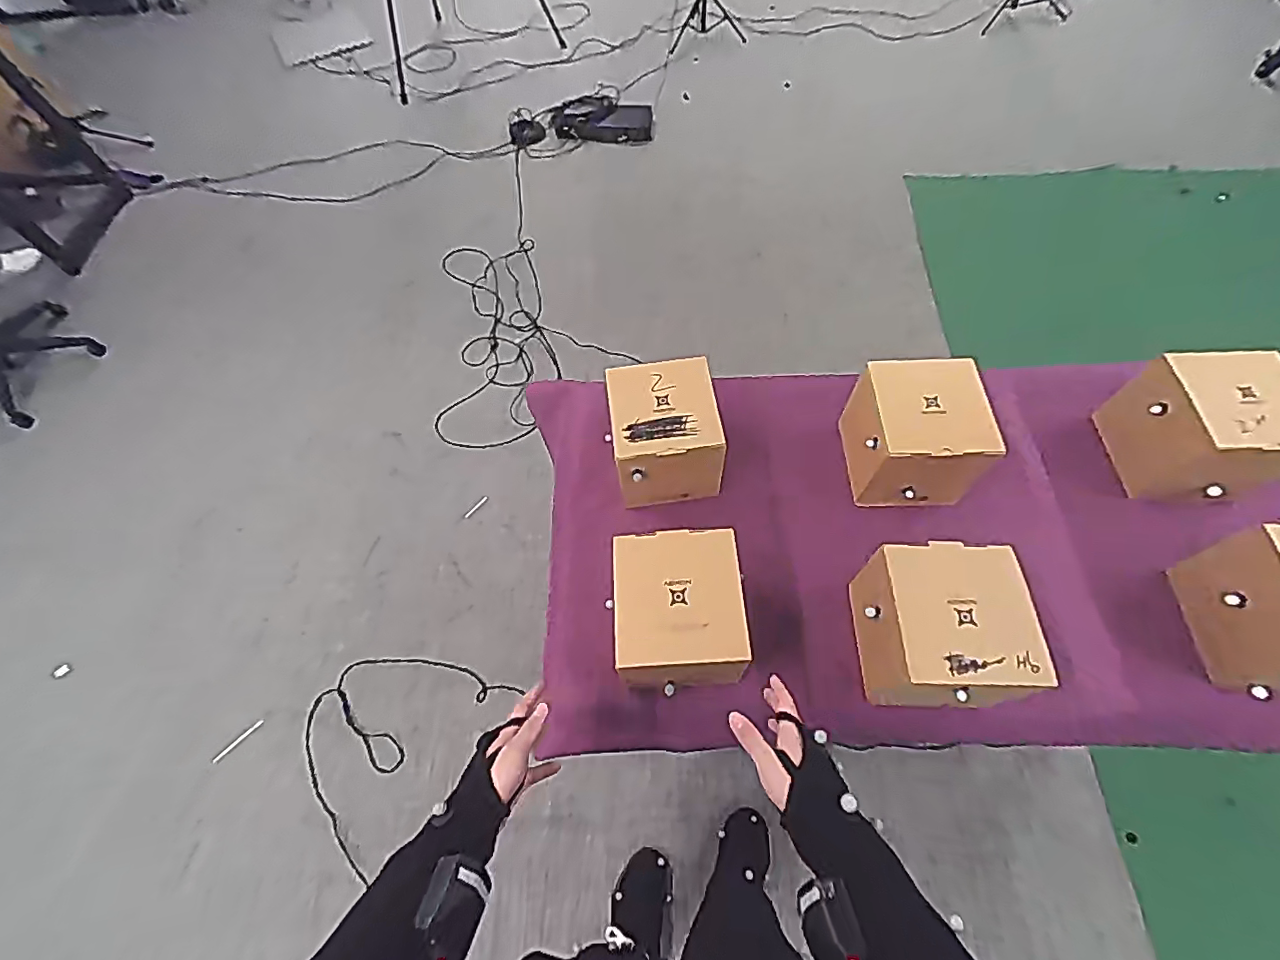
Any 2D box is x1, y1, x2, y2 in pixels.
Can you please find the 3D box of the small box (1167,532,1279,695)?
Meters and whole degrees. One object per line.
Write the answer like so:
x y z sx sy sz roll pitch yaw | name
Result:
0.870 0.185 0.711 0.168 0.176 0.179 3 60 5 | small box

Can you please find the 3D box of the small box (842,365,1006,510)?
0.441 -0.066 0.877 0.168 0.176 0.179 -1 62 2 | small box

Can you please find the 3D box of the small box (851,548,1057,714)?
0.398 0.206 0.727 0.168 0.176 0.179 0 59 4 | small box

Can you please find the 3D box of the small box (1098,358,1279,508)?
0.882 -0.070 0.852 0.168 0.176 0.179 0 62 4 | small box
